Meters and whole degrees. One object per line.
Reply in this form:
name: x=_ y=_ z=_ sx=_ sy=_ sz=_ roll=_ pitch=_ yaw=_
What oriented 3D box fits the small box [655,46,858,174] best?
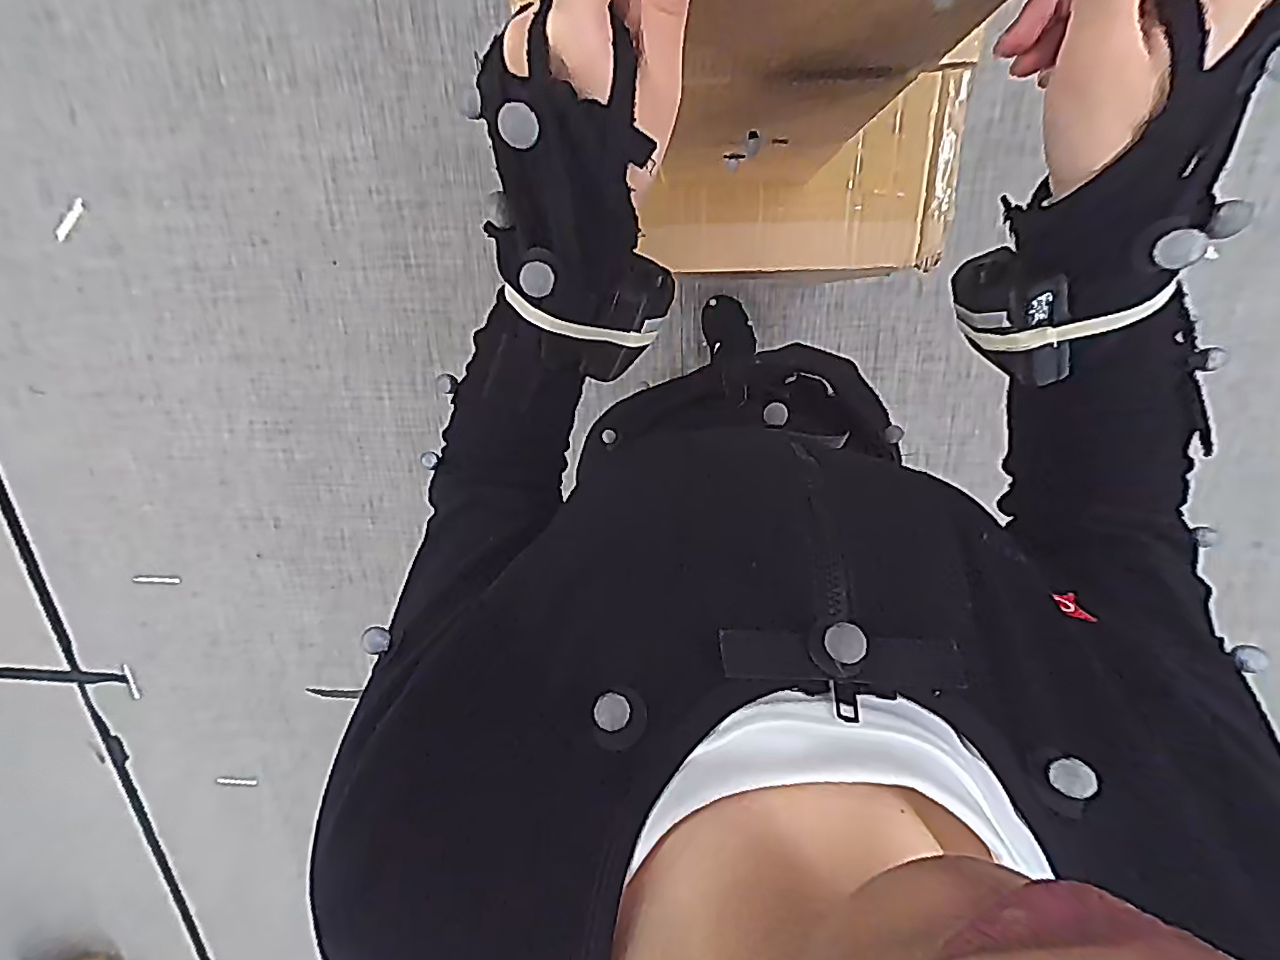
small box: x=0.109 y=-0.414 z=0.539 sx=0.179 sy=0.176 sz=0.168 roll=2 pitch=109 yaw=4

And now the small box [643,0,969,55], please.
small box: x=0.087 y=-0.310 z=0.227 sx=0.179 sy=0.176 sz=0.168 roll=2 pitch=109 yaw=5
